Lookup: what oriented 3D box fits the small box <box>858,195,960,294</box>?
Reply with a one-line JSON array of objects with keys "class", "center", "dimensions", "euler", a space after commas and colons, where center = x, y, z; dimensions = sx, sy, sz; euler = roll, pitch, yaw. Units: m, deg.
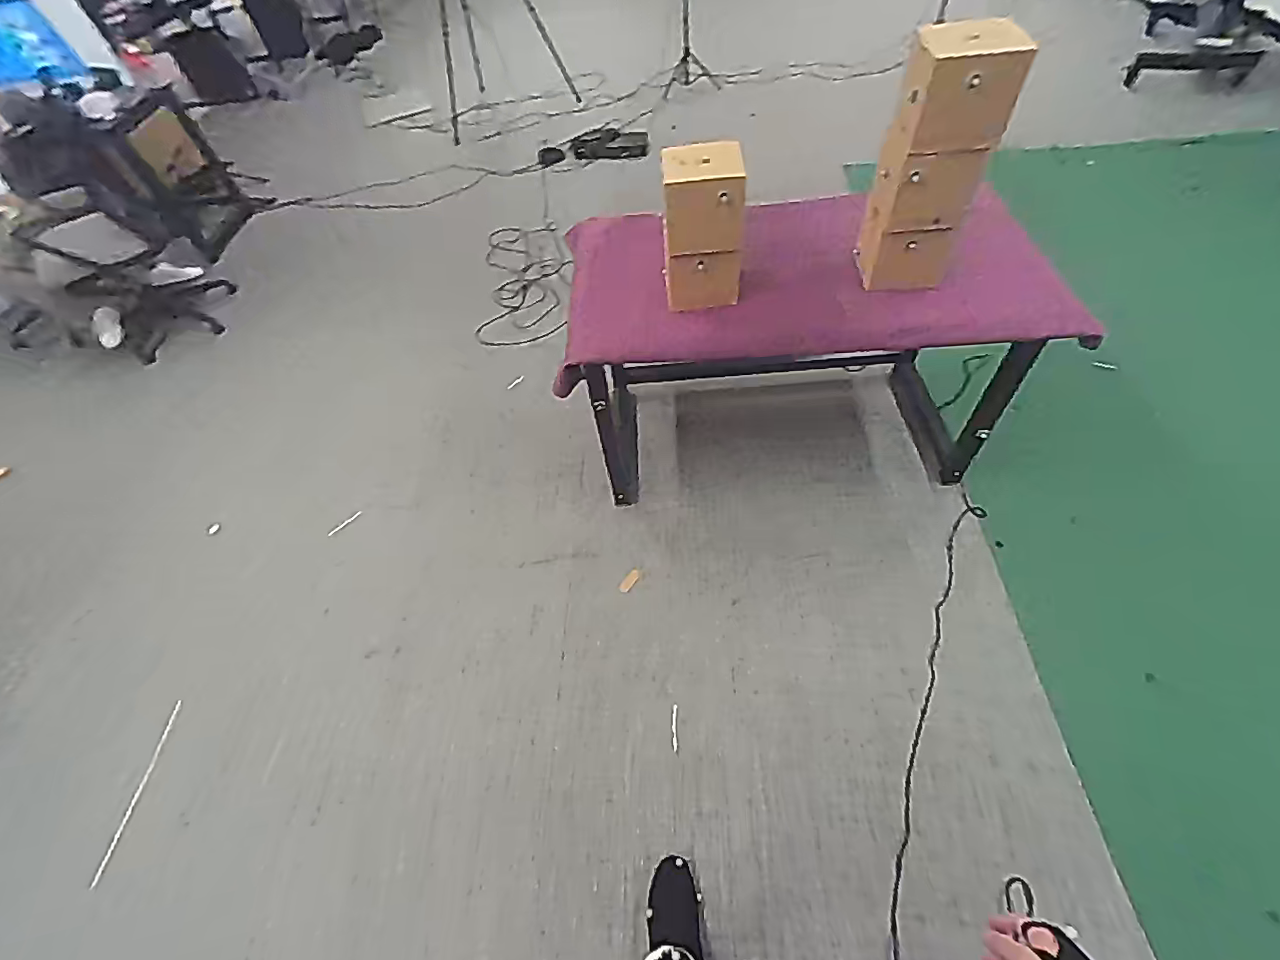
[{"class": "small box", "center": [0.655, -0.580, 1.345], "dimensions": [0.179, 0.176, 0.168], "euler": [-1, 54, 6]}]

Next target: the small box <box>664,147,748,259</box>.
[{"class": "small box", "center": [0.146, -0.629, 1.238], "dimensions": [0.179, 0.176, 0.168], "euler": [-3, 54, 5]}]

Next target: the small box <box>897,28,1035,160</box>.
[{"class": "small box", "center": [0.626, -0.757, 1.071], "dimensions": [0.179, 0.176, 0.168], "euler": [1, 55, 7]}]

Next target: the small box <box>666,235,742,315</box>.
[{"class": "small box", "center": [0.159, -0.545, 1.380], "dimensions": [0.179, 0.176, 0.168], "euler": [-5, 54, 4]}]
